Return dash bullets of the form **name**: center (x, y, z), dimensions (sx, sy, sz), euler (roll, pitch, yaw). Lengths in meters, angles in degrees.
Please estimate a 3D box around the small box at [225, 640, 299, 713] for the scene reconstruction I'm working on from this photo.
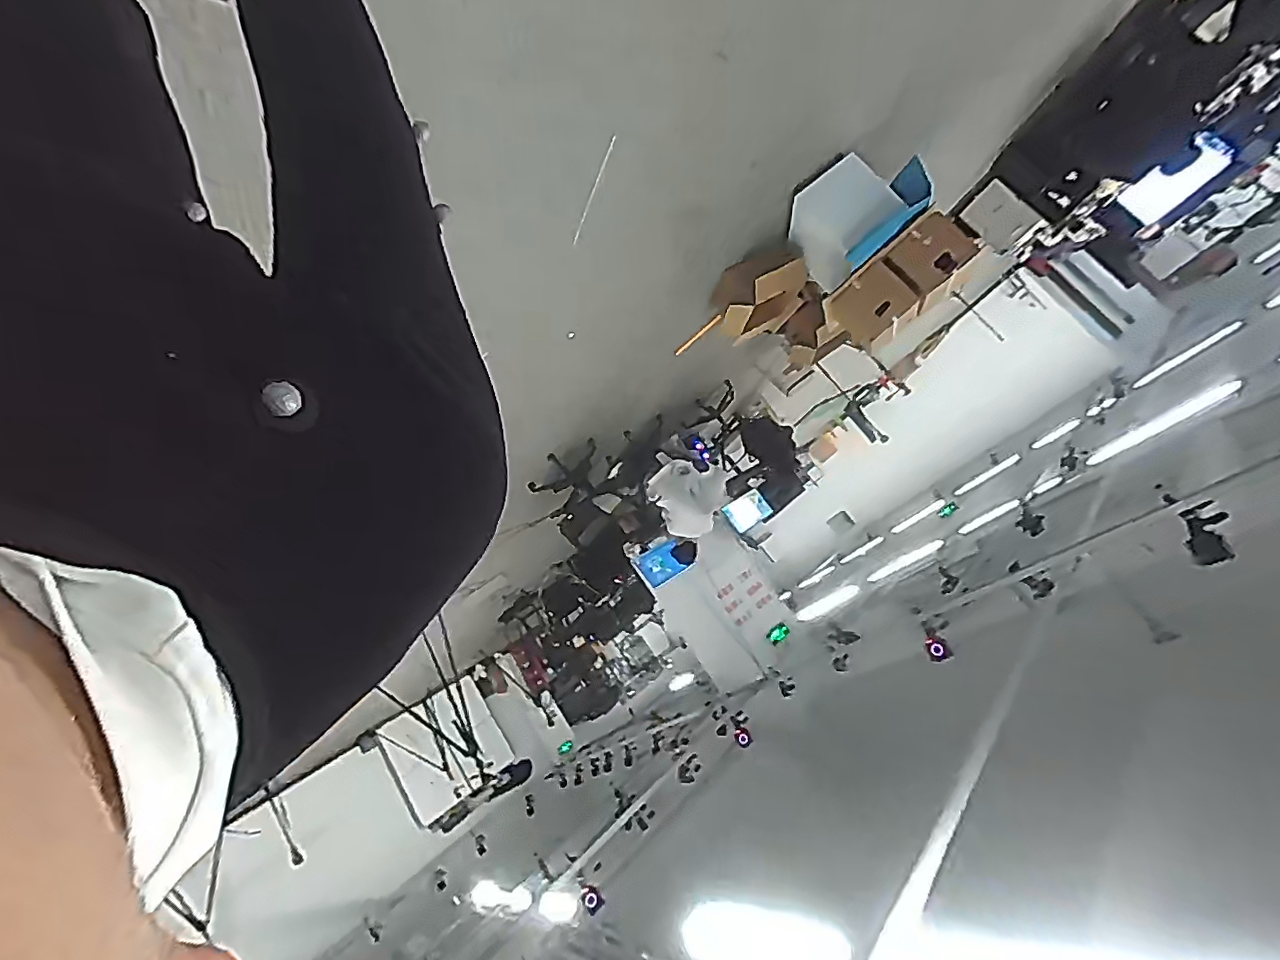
- **small box**: center (-1.344, 0.695, 1.925), dimensions (0.168, 0.176, 0.179), euler (-24, 162, -39)
